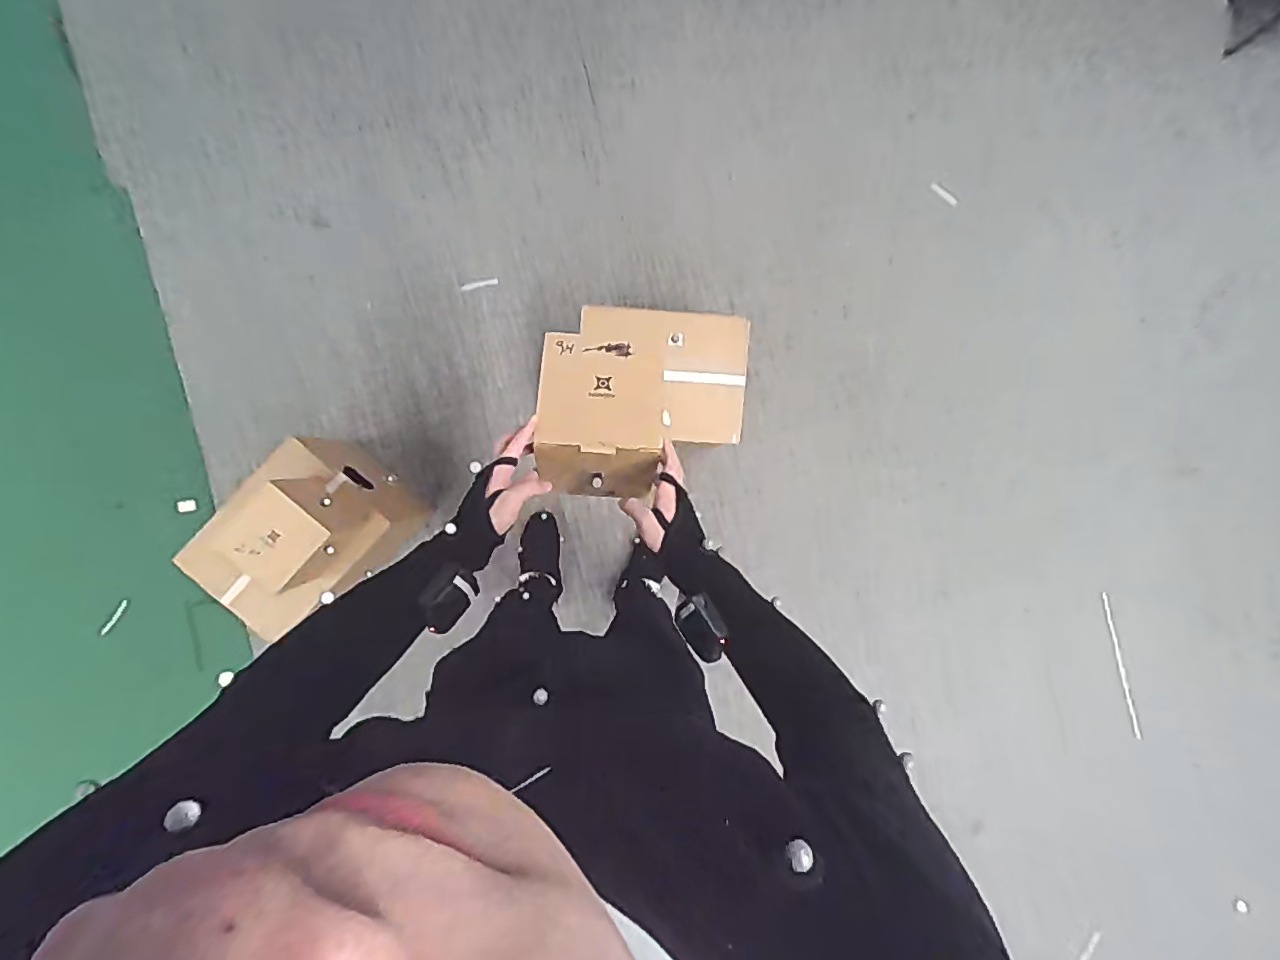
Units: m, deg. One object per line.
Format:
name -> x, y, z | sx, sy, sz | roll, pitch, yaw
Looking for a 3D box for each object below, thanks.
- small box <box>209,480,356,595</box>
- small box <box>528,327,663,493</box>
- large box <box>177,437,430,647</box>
small box -> -0.747, 0.112, 1.159 | 0.168, 0.176, 0.179 | 42, 89, -4
small box -> -0.060, -0.090, 0.771 | 0.168, 0.176, 0.179 | 4, 67, -5
large box -> -0.833, 0.139, 1.402 | 0.320, 0.320, 0.408 | 43, 90, -2
